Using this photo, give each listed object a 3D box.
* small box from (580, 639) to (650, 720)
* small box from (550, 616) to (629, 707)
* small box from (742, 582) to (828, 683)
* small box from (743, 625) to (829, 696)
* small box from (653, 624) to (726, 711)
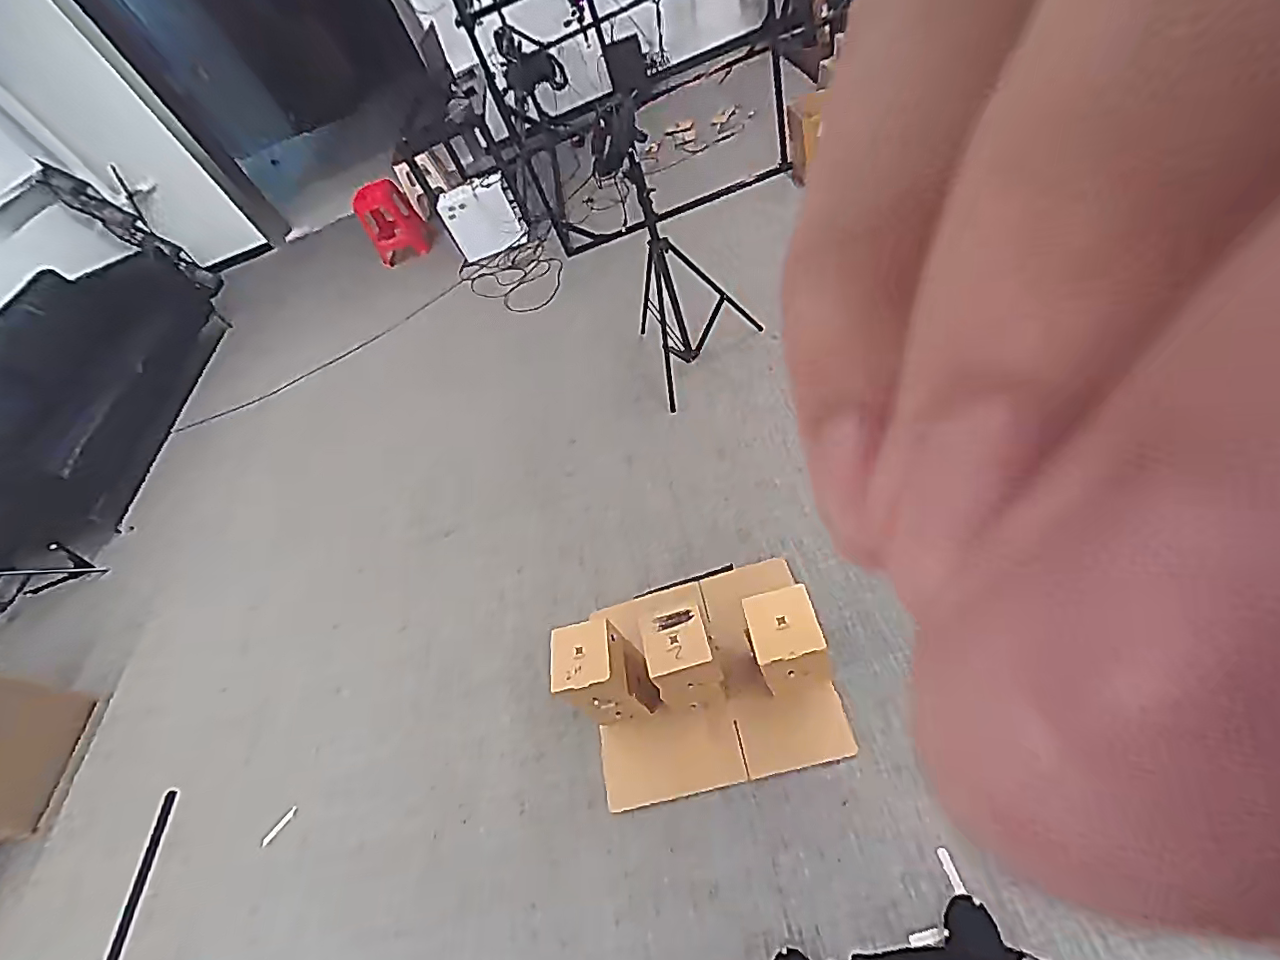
[{"bbox_3d":[-0.077,0.598,1.600,0.168,0.176,0.179,-17,51,10],"label":"small box"},{"bbox_3d":[-0.137,0.500,1.481,0.168,0.176,0.179,-16,50,10],"label":"small box"},{"bbox_3d":[0.367,0.390,1.371,0.168,0.176,0.179,-17,51,8],"label":"small box"},{"bbox_3d":[0.409,0.476,1.503,0.179,0.176,0.168,-25,50,2],"label":"small box"},{"bbox_3d":[0.143,0.542,1.556,0.168,0.176,0.179,-15,50,10],"label":"small box"}]
